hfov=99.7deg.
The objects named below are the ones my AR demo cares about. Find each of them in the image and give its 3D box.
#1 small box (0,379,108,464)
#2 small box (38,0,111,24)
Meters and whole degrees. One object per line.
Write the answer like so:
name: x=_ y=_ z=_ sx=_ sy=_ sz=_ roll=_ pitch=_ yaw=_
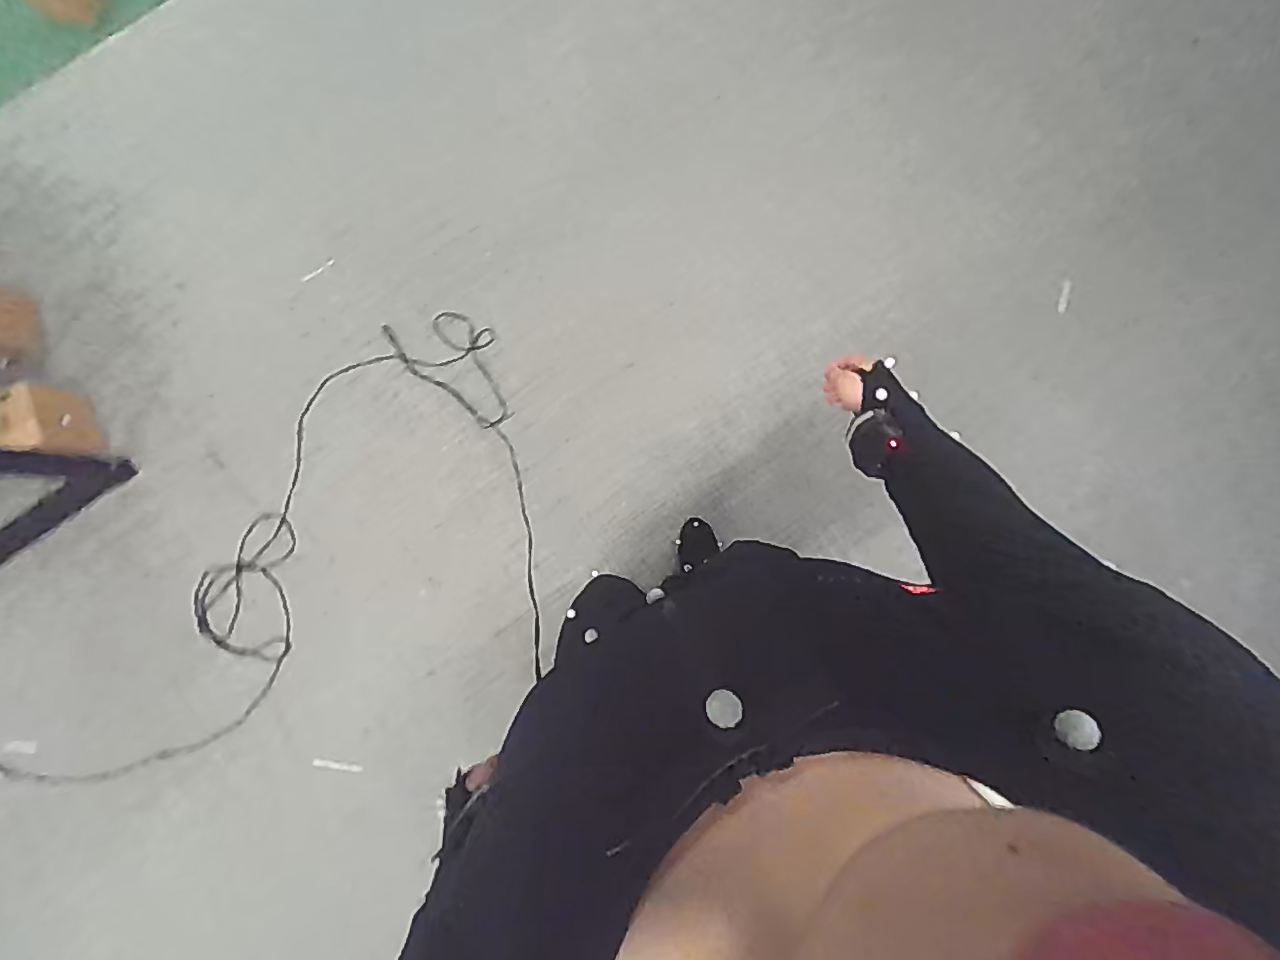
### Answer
small box: x=-1.617 y=-0.149 z=1.468 sx=0.168 sy=0.176 sz=0.179 roll=-22 pitch=86 yaw=-1
small box: x=-1.707 y=-1.491 z=1.576 sx=0.179 sy=0.176 sz=0.168 roll=20 pitch=86 yaw=2
